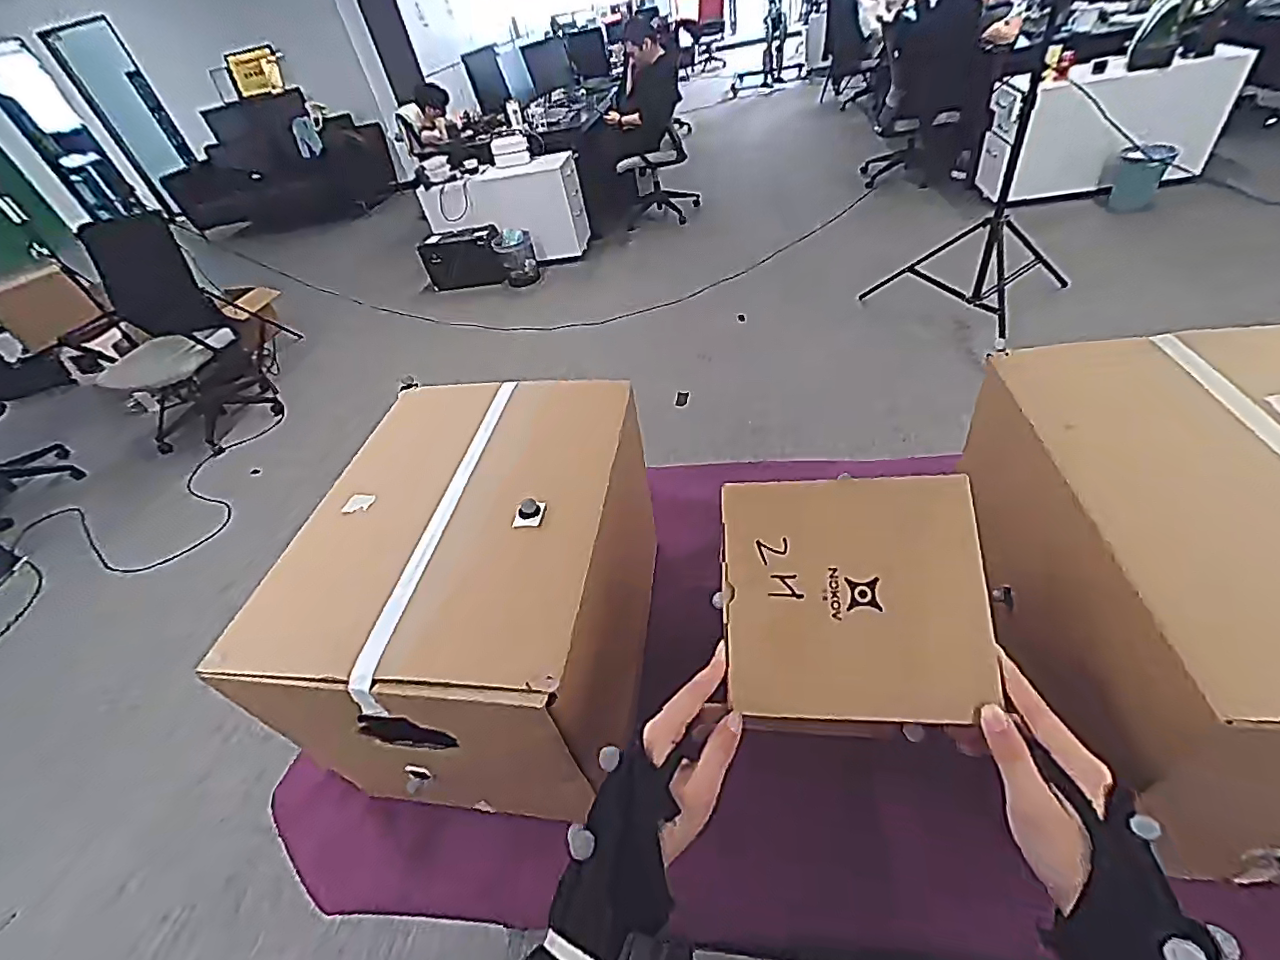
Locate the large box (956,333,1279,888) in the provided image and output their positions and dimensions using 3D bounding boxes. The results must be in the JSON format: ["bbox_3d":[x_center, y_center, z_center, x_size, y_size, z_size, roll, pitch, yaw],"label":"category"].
[{"bbox_3d":[0.523,0.108,0.507,0.320,0.320,0.408,-2,42,11],"label":"large box"}]

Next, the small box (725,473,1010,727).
[{"bbox_3d":[0.162,0.095,0.444,0.179,0.176,0.168,-1,73,12],"label":"small box"}]
